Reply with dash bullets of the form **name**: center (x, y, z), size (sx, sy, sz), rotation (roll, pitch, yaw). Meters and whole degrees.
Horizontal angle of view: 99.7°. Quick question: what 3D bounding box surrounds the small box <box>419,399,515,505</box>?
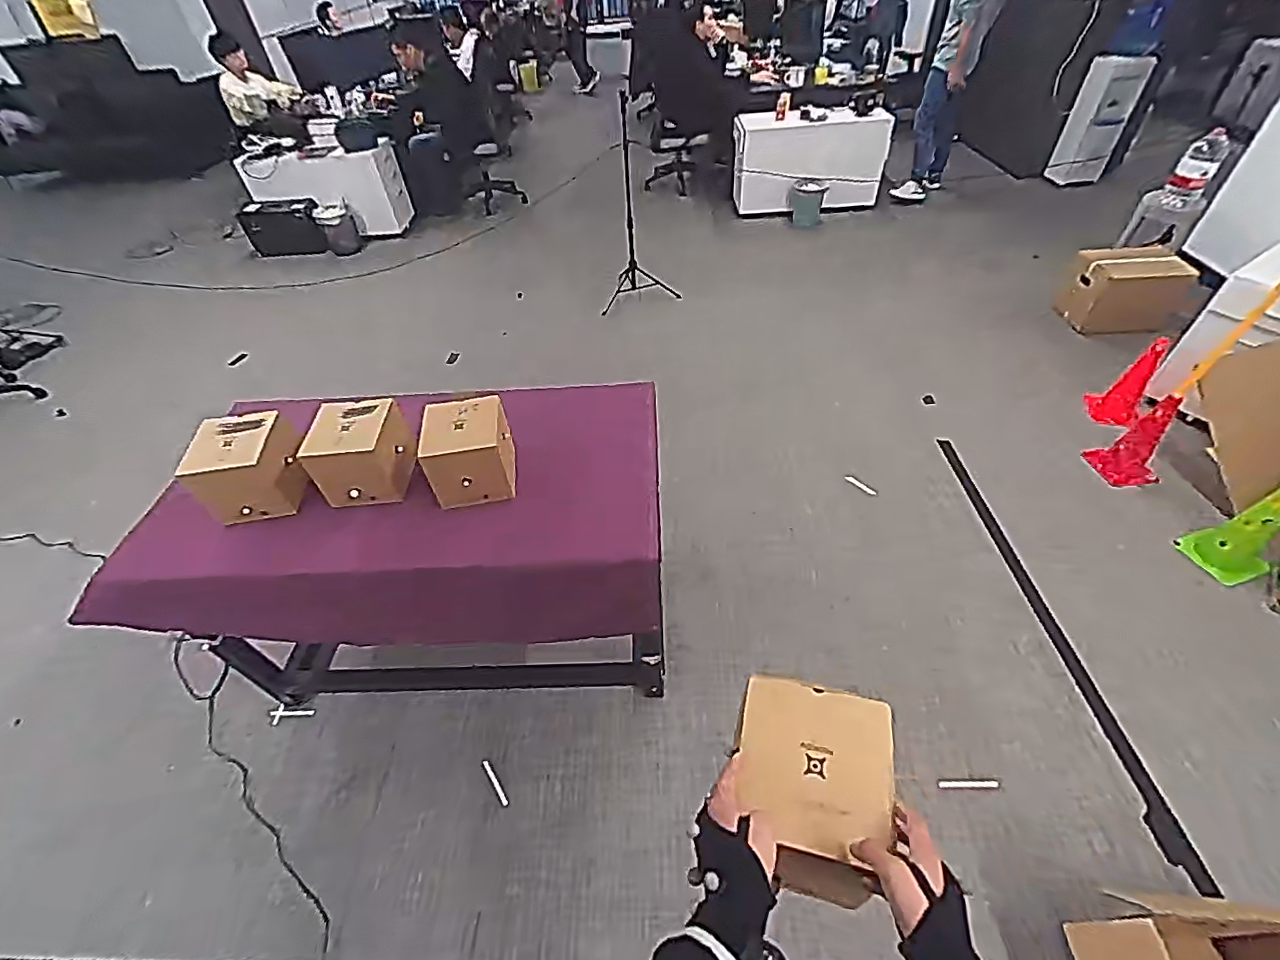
- **small box**: center (-0.383, -0.057, 1.231), size (0.168, 0.176, 0.179), rotation (-9, 46, -4)

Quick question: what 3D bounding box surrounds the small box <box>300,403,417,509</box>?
- **small box**: center (-0.637, -0.054, 1.250), size (0.168, 0.176, 0.179), rotation (-5, 47, 0)

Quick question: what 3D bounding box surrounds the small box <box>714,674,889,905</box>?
- **small box**: center (0.186, 0.371, 0.652), size (0.168, 0.176, 0.179), rotation (9, 43, 12)
